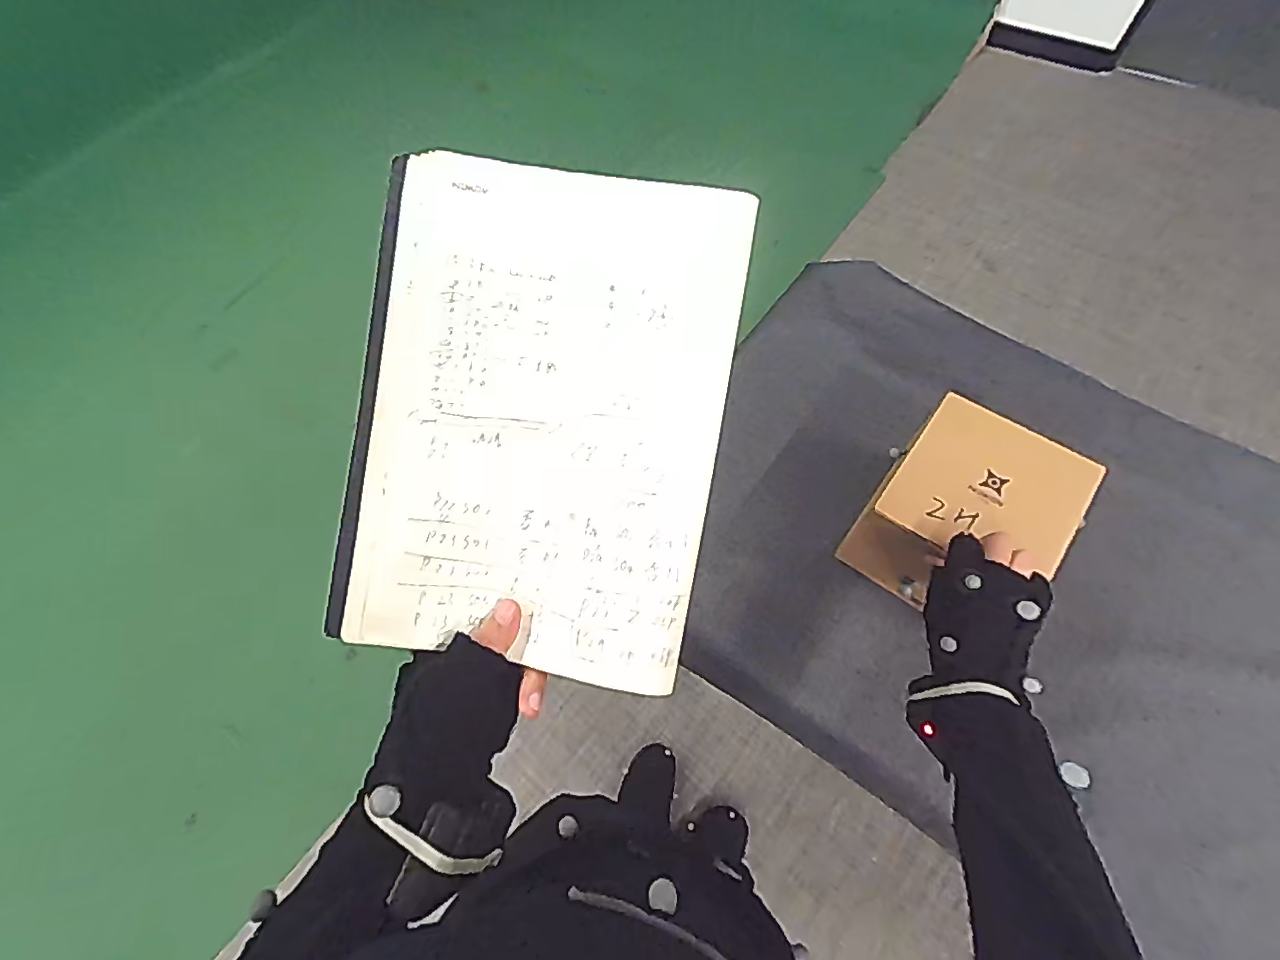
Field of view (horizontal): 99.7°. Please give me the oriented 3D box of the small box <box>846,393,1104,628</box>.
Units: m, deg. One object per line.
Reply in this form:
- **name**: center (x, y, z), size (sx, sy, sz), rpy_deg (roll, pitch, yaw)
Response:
- **small box**: center (0.362, 0.042, 0.620), size (0.168, 0.176, 0.179), rpy_deg (34, 72, 20)
